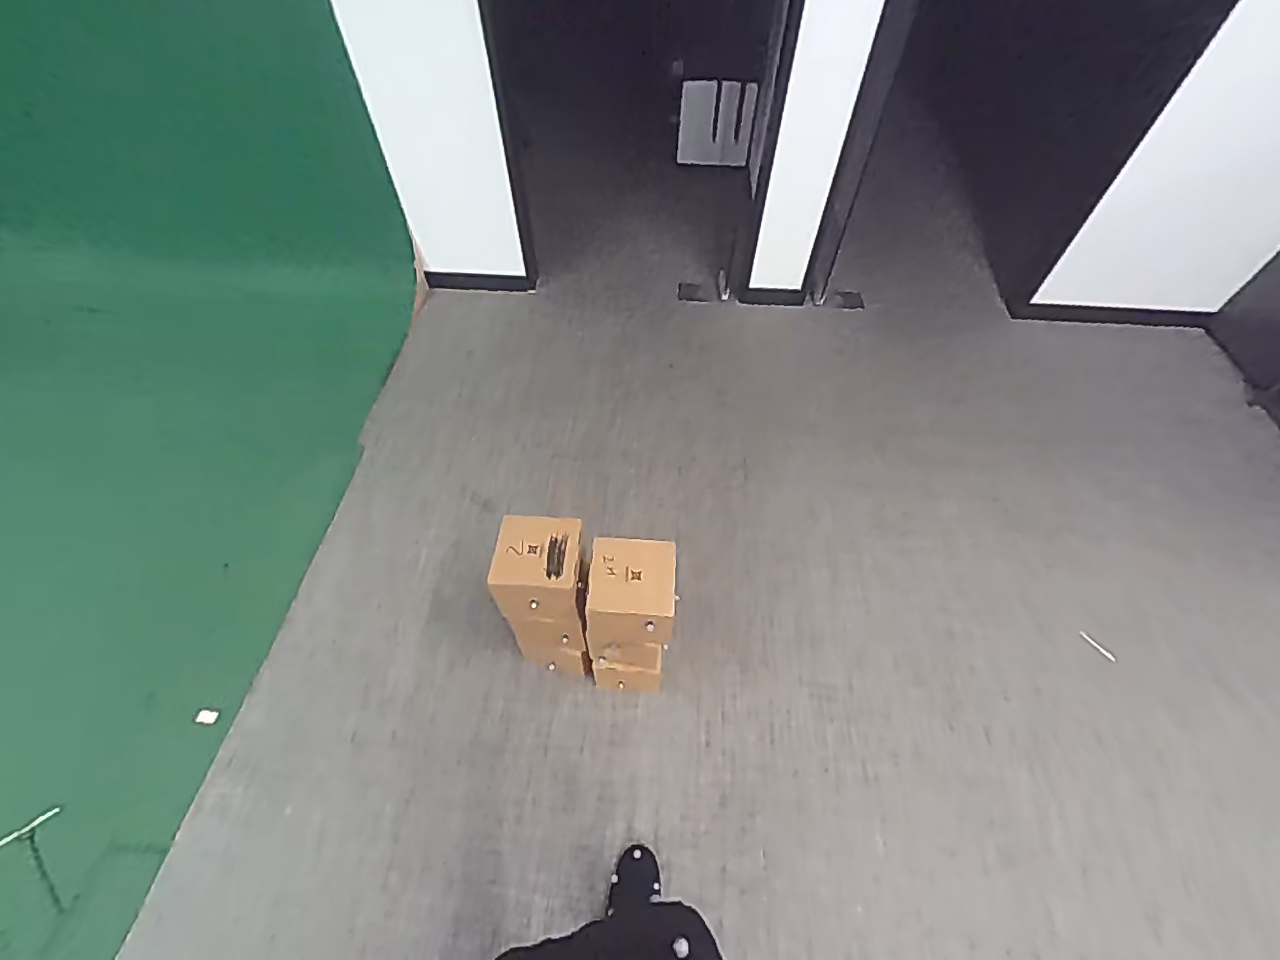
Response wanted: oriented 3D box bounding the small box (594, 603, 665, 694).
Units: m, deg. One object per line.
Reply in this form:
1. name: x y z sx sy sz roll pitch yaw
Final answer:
1. small box: -0.026 0.442 1.412 0.168 0.176 0.179 4 55 3
